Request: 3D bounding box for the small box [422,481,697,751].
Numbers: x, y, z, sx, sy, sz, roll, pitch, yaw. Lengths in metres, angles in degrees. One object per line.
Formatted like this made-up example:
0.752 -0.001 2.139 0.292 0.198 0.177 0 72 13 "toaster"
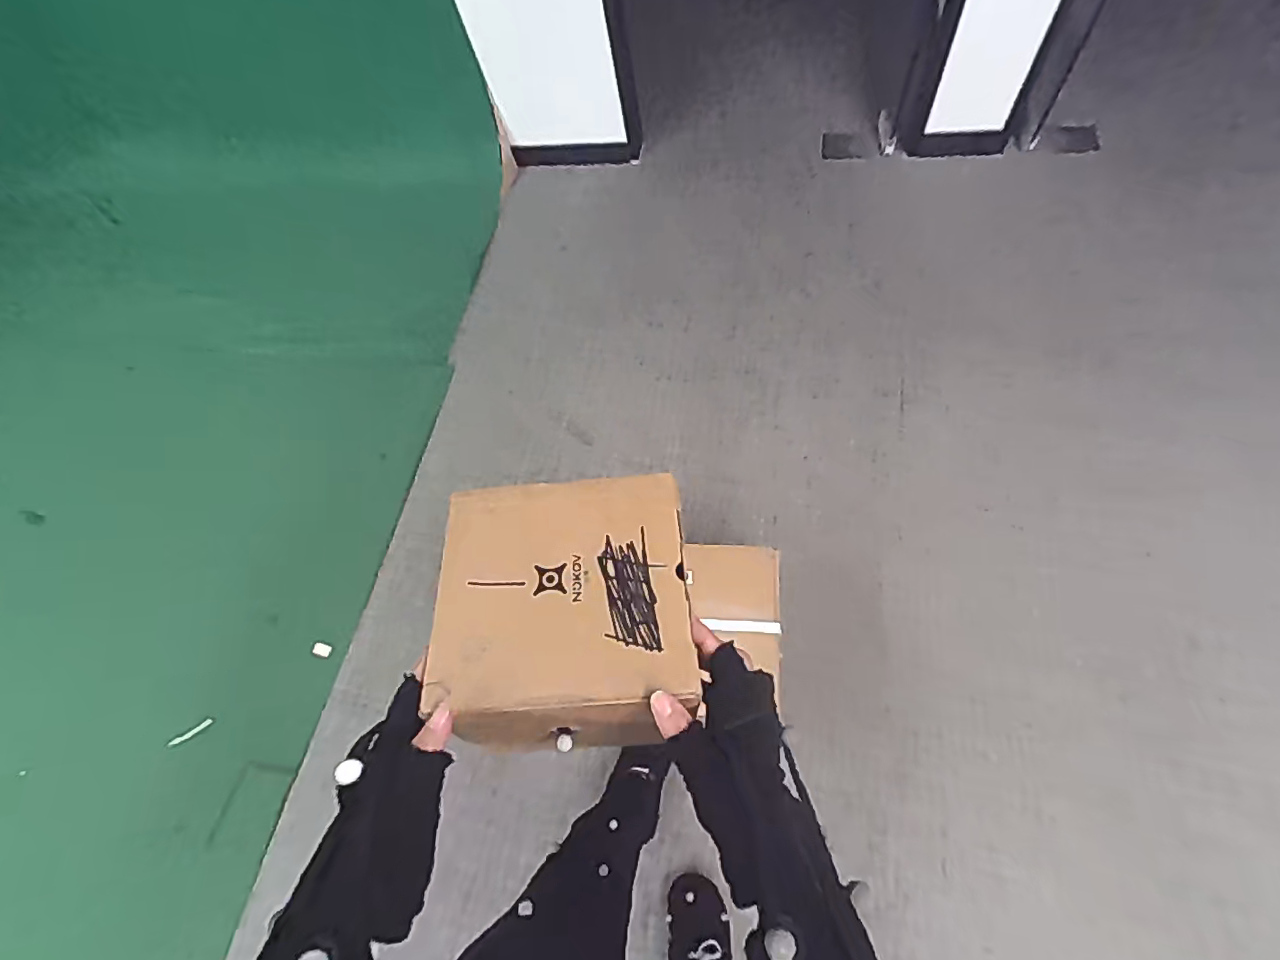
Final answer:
-0.051 0.119 0.449 0.179 0.176 0.168 -5 55 1 "small box"
